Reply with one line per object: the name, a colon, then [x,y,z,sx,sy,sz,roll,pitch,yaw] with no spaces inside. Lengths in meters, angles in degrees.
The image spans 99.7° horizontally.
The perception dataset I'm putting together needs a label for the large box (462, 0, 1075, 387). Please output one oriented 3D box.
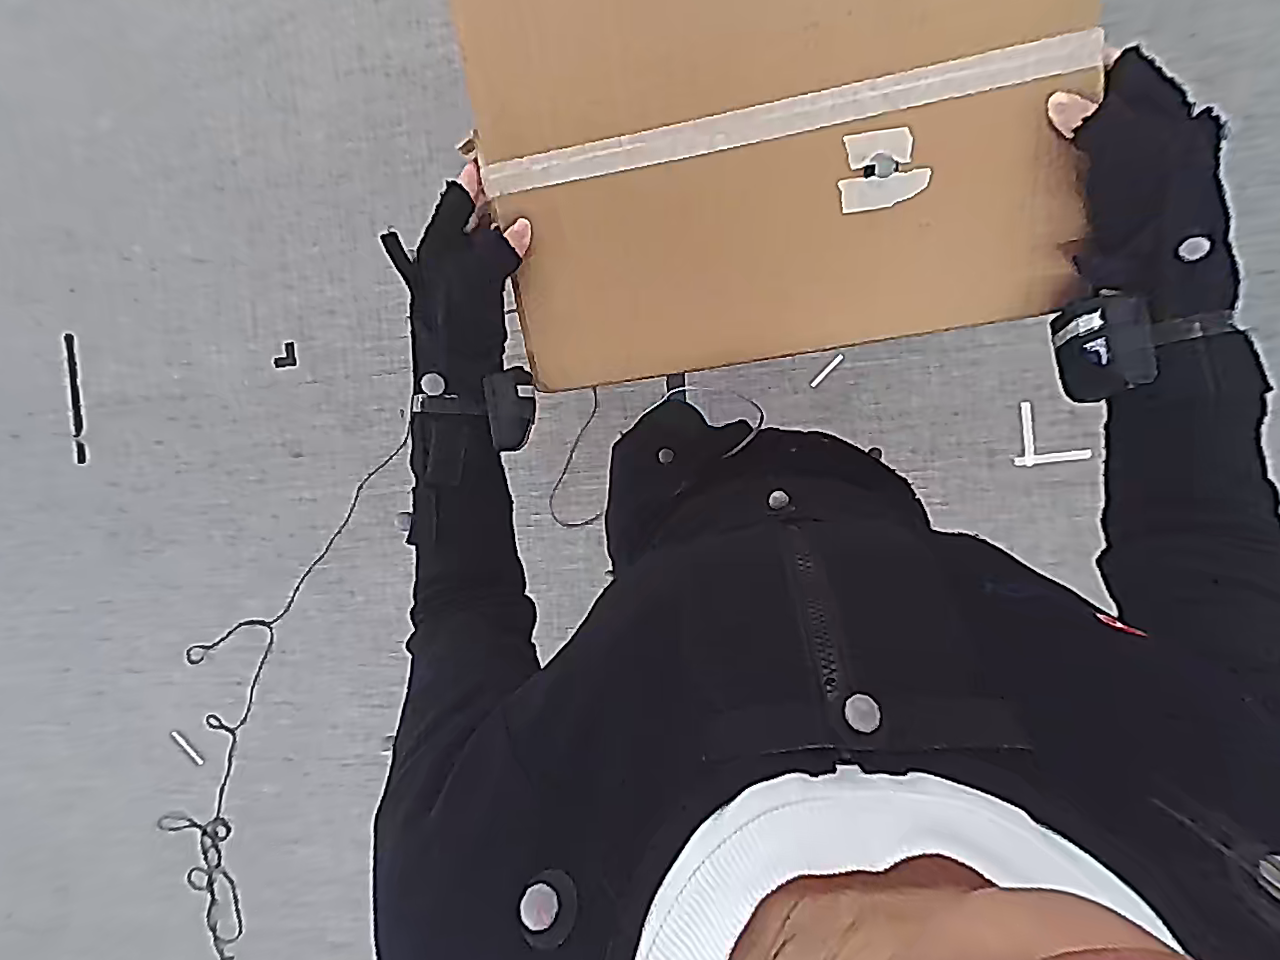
large box: [0.102,-0.290,0.526,0.408,0.320,0.320,-8,105,7]
